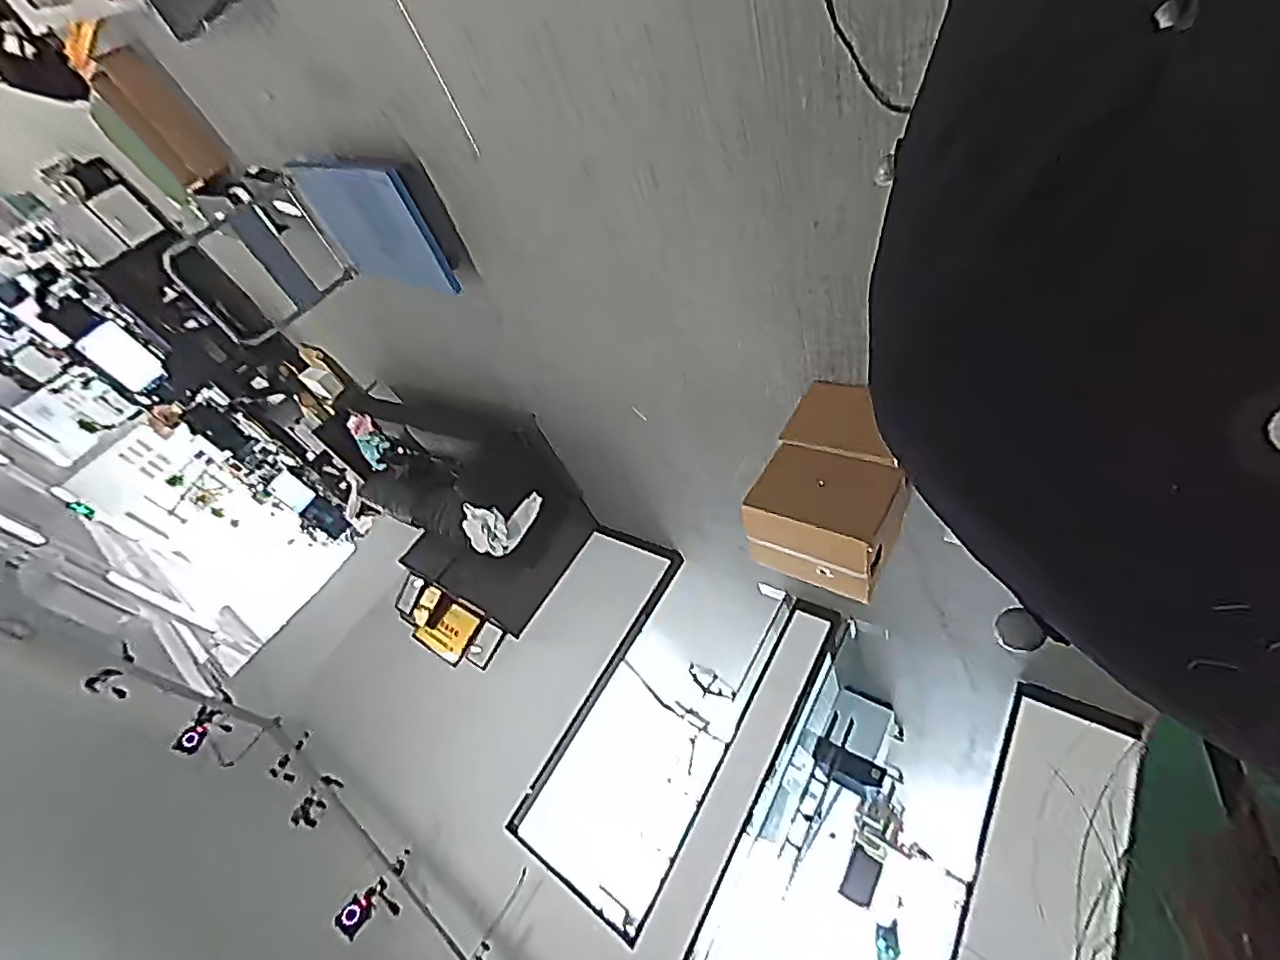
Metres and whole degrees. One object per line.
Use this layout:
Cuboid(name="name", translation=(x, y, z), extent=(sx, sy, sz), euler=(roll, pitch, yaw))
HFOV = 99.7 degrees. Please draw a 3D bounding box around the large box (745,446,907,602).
Cuboid(name="large box", translation=(0.608, 0.128, 1.767), extent=(0.408, 0.320, 0.320), euler=(17, 144, 35))
